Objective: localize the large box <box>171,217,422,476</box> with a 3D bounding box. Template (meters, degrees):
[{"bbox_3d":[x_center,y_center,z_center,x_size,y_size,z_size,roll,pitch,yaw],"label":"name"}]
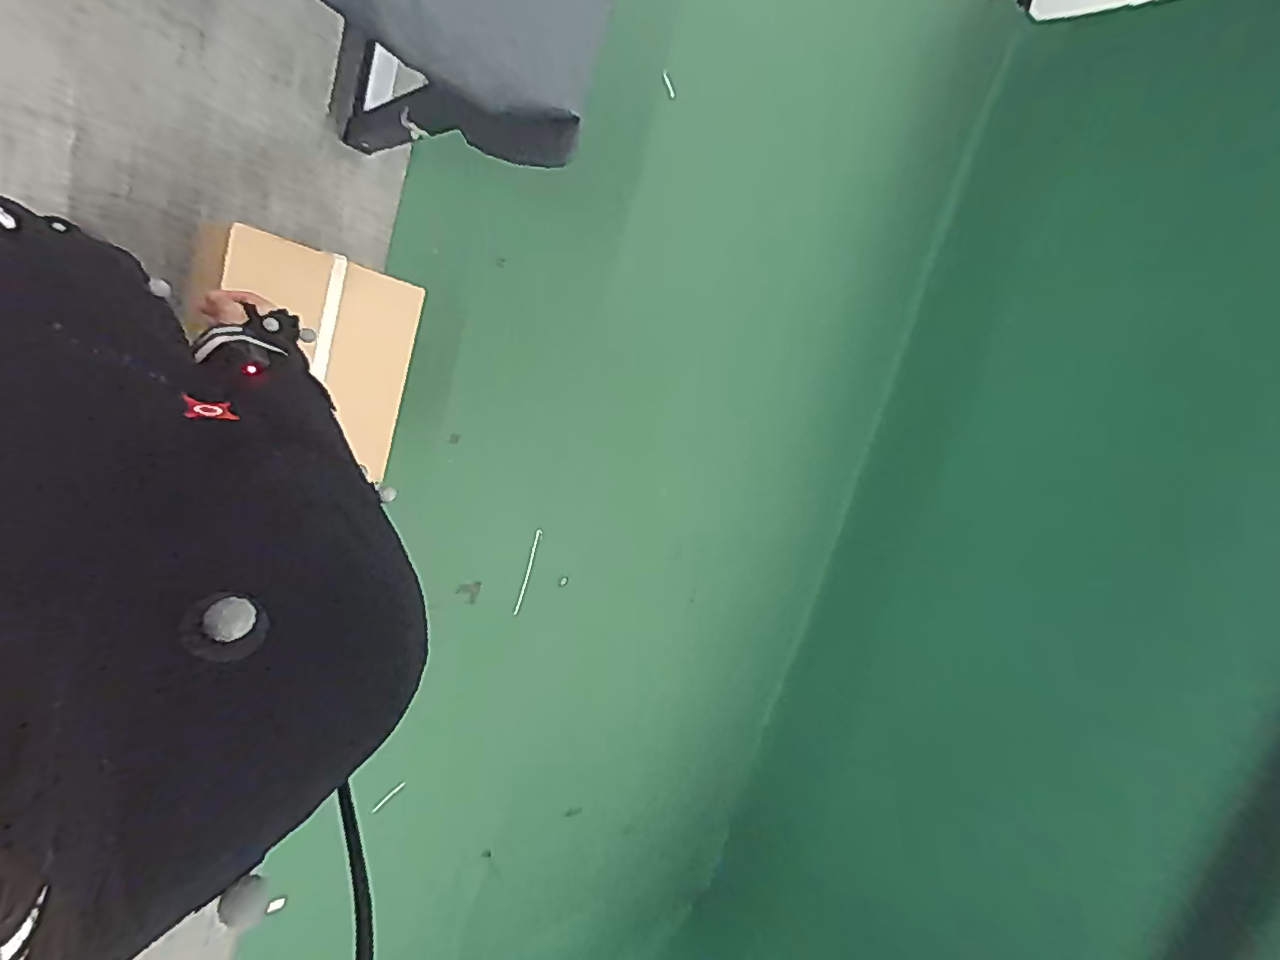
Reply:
[{"bbox_3d":[-0.678,-0.253,1.062,0.320,0.320,0.408,7,103,-48],"label":"large box"}]
